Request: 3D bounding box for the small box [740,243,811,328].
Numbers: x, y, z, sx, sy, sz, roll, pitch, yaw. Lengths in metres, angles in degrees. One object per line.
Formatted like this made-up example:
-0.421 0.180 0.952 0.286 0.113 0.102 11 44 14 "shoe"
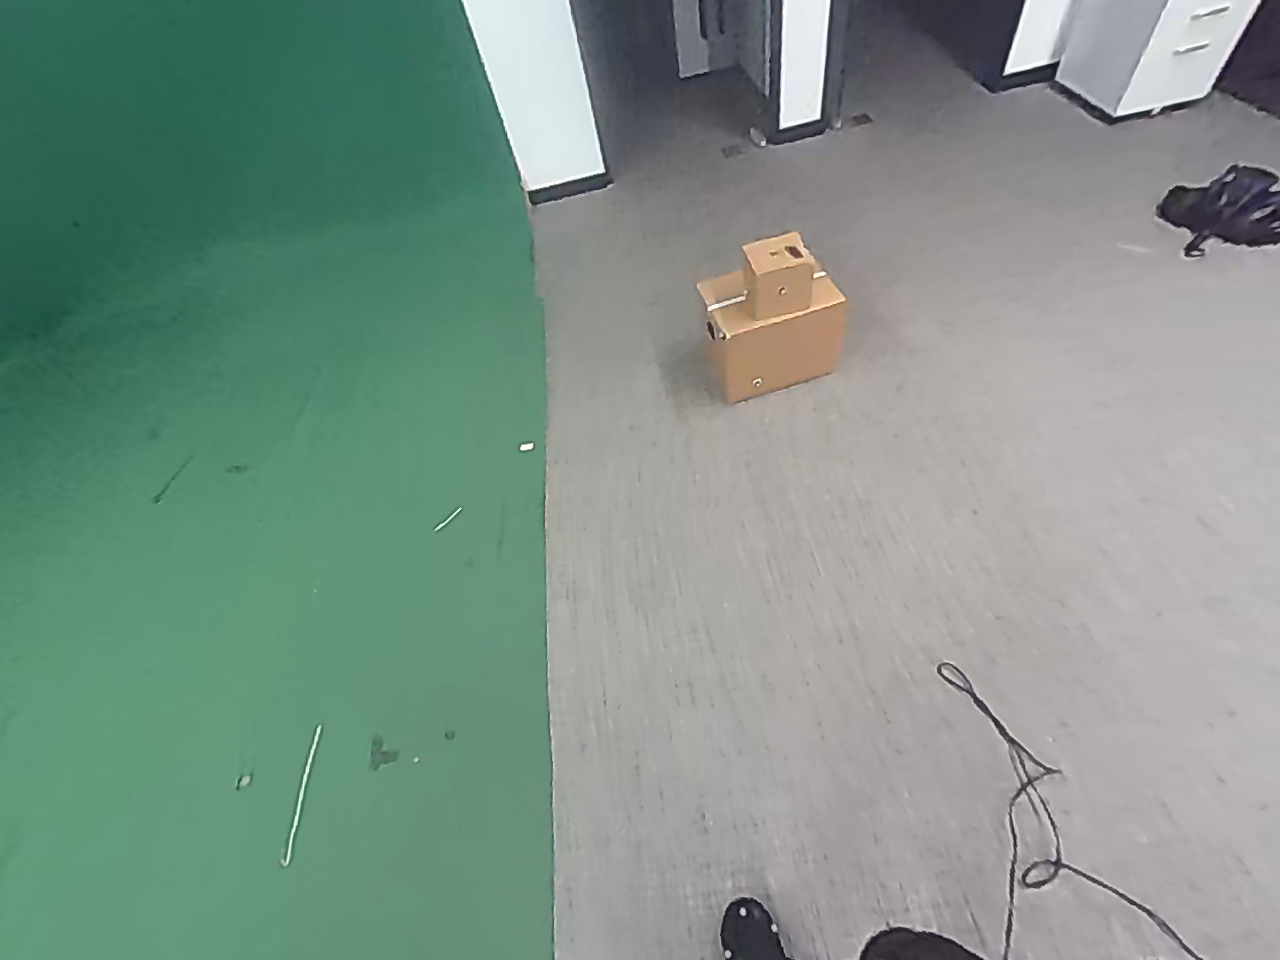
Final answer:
0.419 -0.608 1.698 0.179 0.176 0.168 -13 53 3 "small box"
